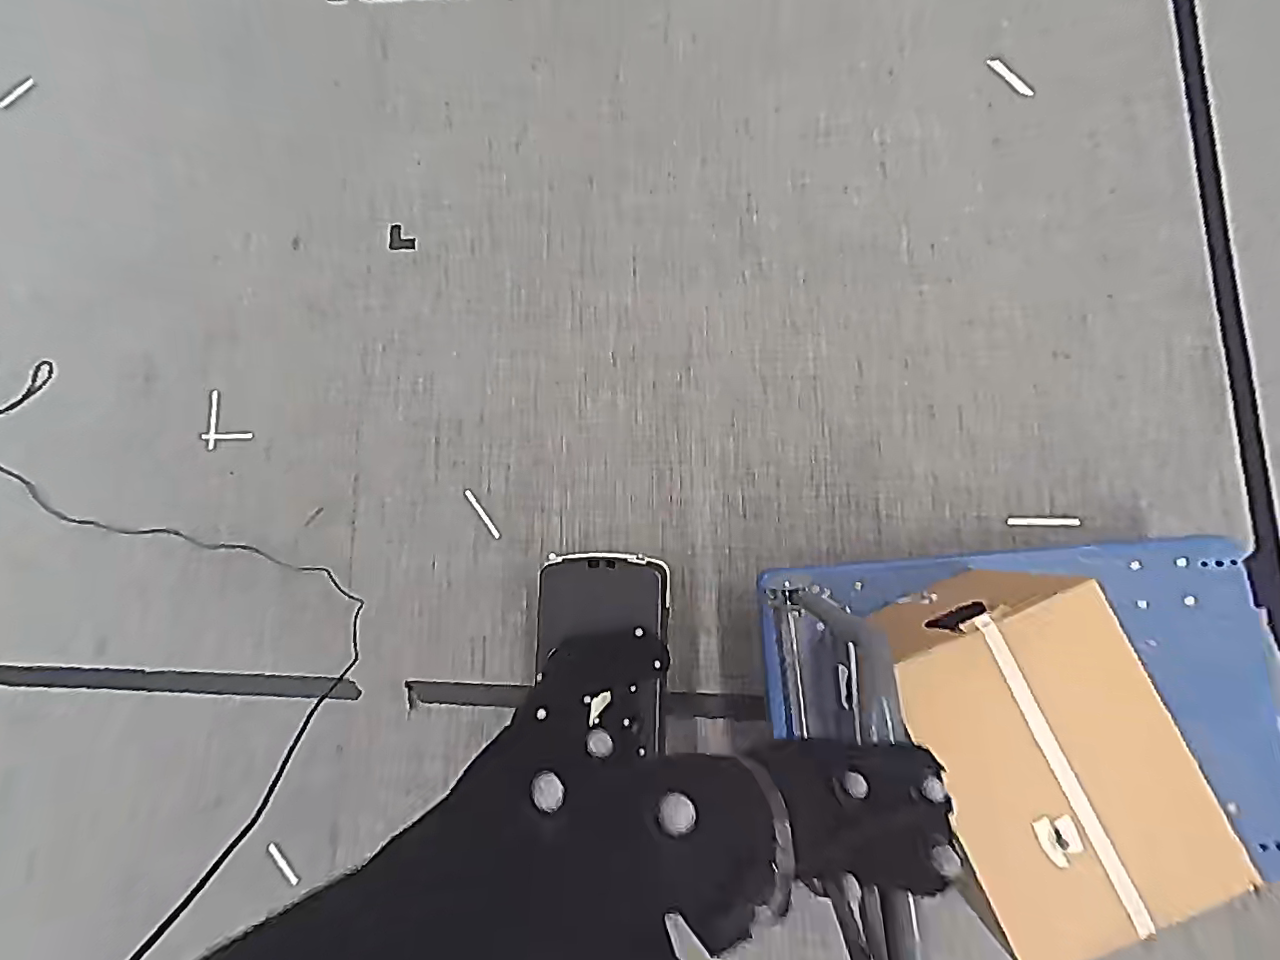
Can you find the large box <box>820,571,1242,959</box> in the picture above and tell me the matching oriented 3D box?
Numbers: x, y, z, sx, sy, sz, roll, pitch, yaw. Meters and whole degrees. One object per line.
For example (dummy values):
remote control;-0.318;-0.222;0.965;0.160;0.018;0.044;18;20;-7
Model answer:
large box;0.545;0.392;0.851;0.320;0.320;0.408;-24;82;2
